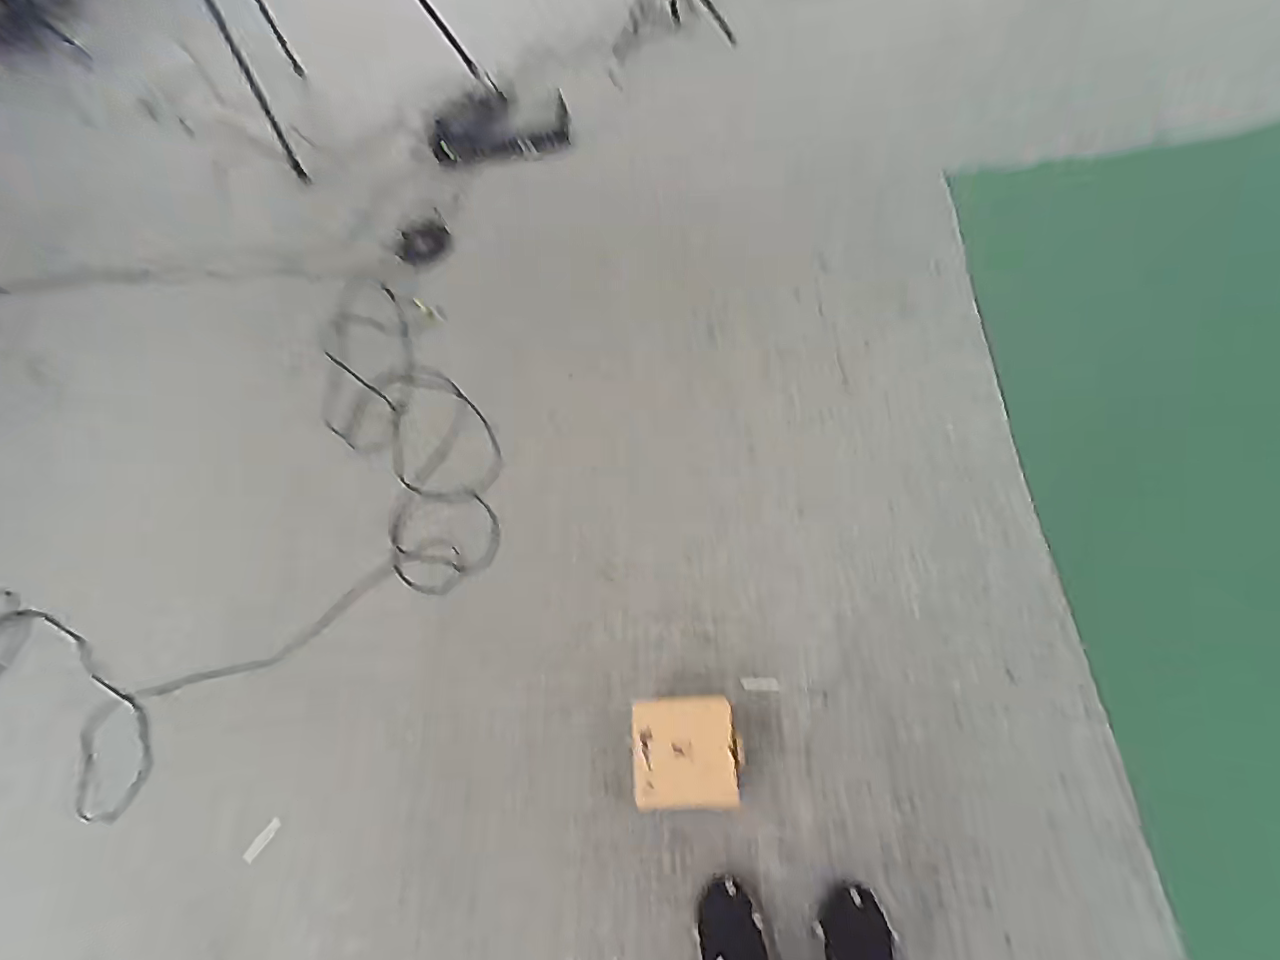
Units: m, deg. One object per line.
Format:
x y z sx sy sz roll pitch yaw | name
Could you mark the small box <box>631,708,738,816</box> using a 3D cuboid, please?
0.083 0.513 1.000 0.179 0.176 0.168 -5 66 7 | small box
